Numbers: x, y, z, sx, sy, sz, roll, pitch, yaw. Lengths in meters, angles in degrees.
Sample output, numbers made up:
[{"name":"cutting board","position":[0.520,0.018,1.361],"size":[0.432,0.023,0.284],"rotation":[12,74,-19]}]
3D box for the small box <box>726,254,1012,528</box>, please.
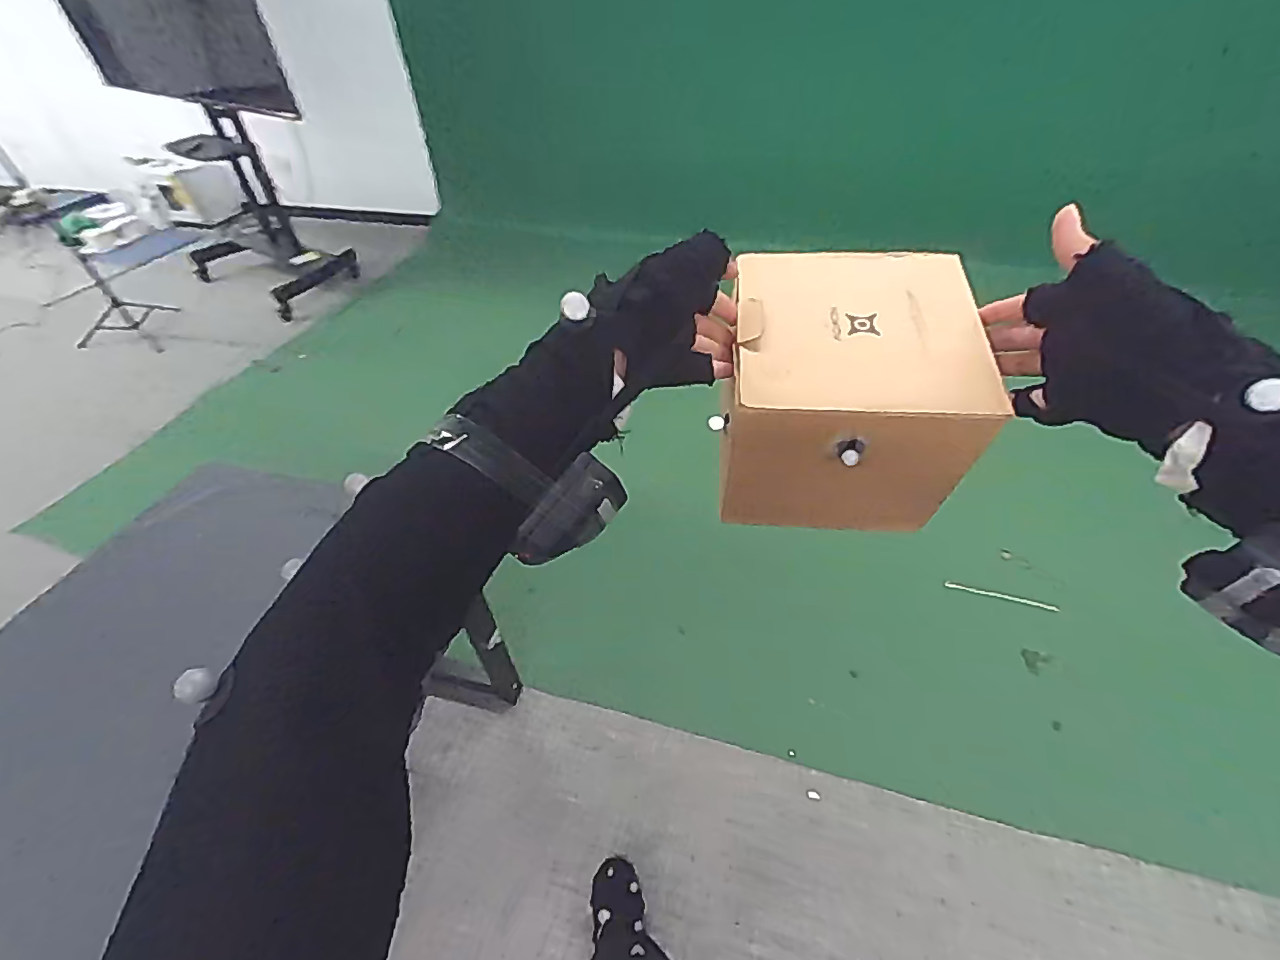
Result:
[{"name":"small box","position":[0.167,-0.070,0.466],"size":[0.179,0.176,0.168],"rotation":[3,58,5]}]
